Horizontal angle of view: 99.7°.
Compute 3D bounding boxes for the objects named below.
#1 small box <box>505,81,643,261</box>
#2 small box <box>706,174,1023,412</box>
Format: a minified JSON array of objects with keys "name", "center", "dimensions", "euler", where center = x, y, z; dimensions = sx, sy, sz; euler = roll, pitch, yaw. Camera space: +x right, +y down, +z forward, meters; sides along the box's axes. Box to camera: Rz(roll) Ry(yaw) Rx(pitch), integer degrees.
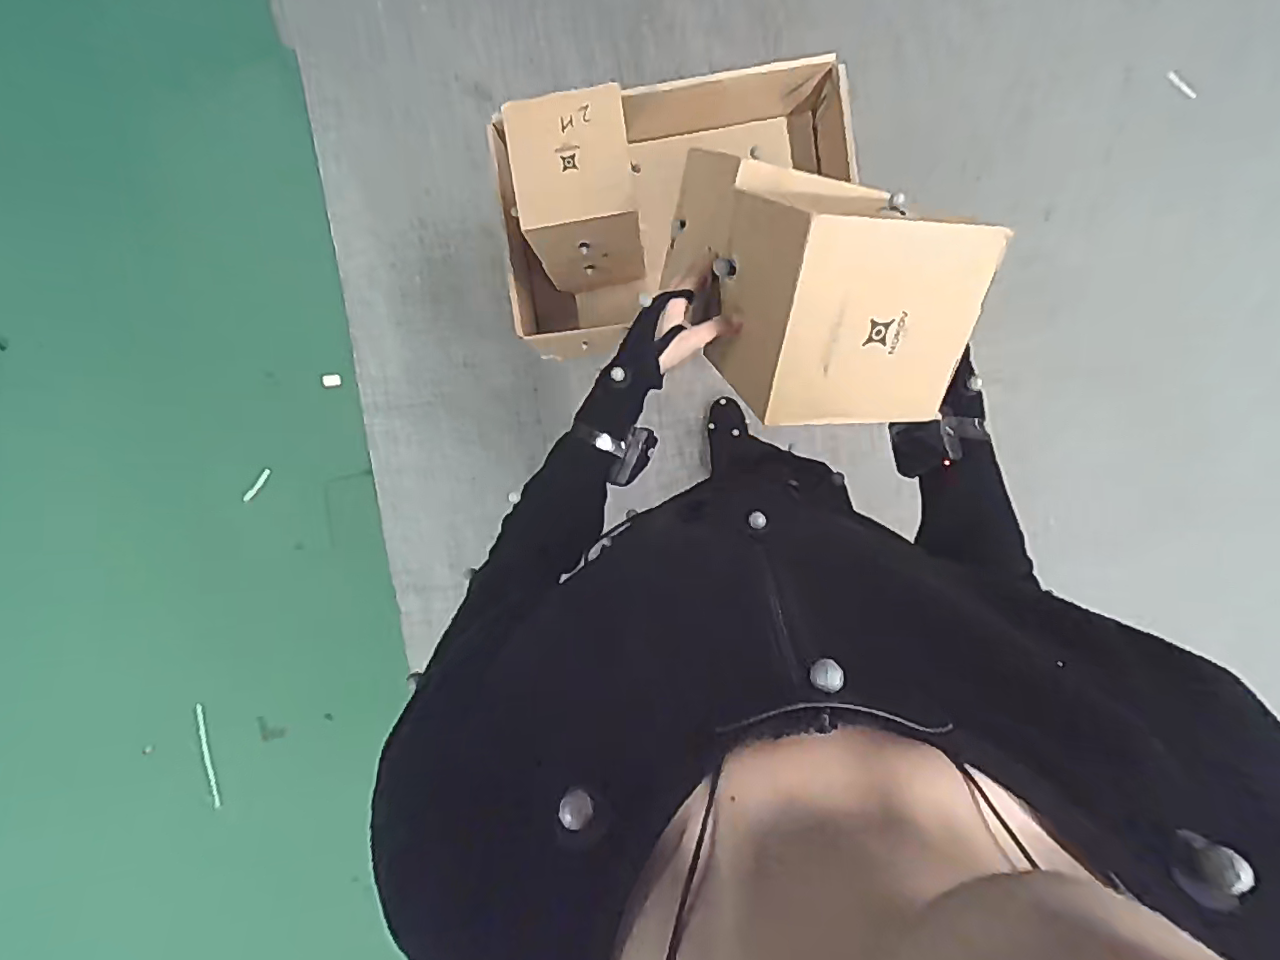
[{"name":"small box","center":[-0.089,-0.445,0.813],"dimensions":[0.168,0.176,0.179],"euler":[-7,93,3]},{"name":"small box","center":[0.176,-0.172,0.485],"dimensions":[0.179,0.176,0.168],"euler":[-3,123,-12]}]
